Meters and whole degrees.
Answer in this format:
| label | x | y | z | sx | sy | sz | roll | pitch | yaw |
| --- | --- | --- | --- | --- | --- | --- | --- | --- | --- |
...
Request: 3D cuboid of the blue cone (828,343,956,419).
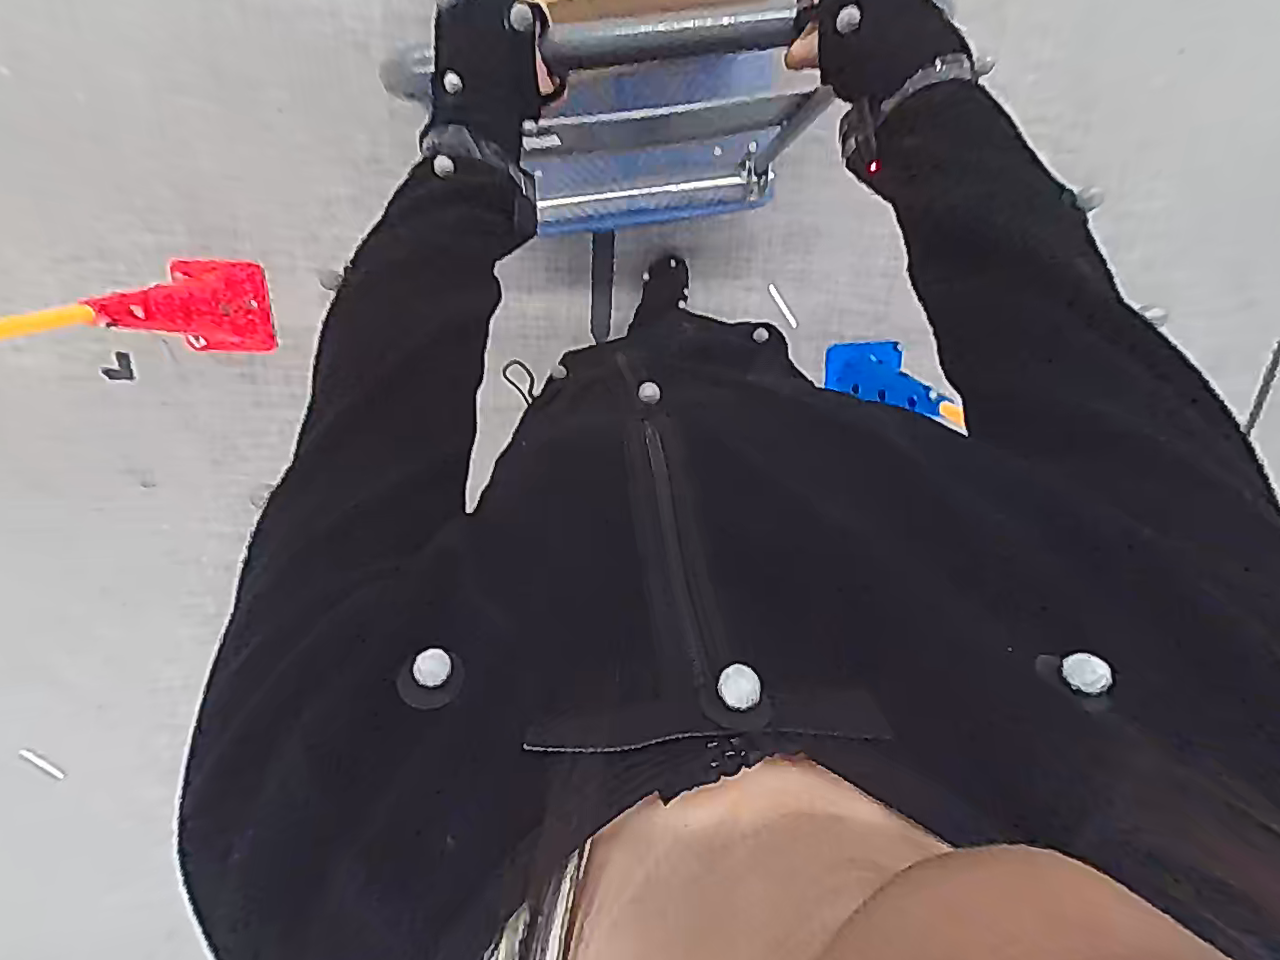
| label | x | y | z | sx | sy | sz | roll | pitch | yaw |
| --- | --- | --- | --- | --- | --- | --- | --- | --- | --- |
| blue cone | 0.595 | -0.205 | 1.246 | 0.193 | 0.380 | 0.192 | -3 | 108 | -4 |
